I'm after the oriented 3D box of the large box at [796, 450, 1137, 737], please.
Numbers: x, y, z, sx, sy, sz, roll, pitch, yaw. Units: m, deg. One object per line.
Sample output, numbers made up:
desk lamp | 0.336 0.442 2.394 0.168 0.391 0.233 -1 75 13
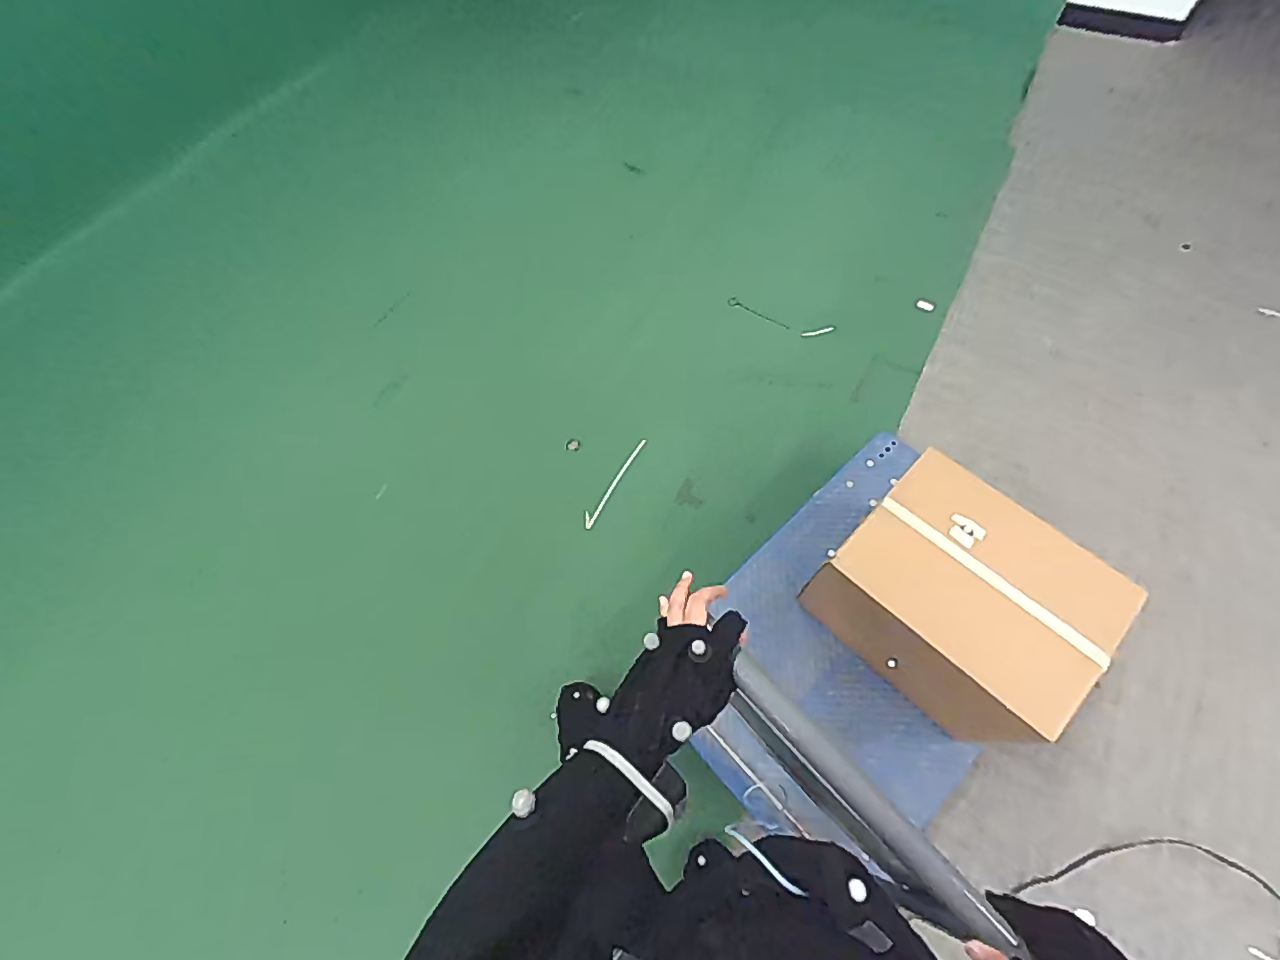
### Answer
large box | 0.573 0.225 1.038 0.320 0.320 0.408 -42 67 -15
